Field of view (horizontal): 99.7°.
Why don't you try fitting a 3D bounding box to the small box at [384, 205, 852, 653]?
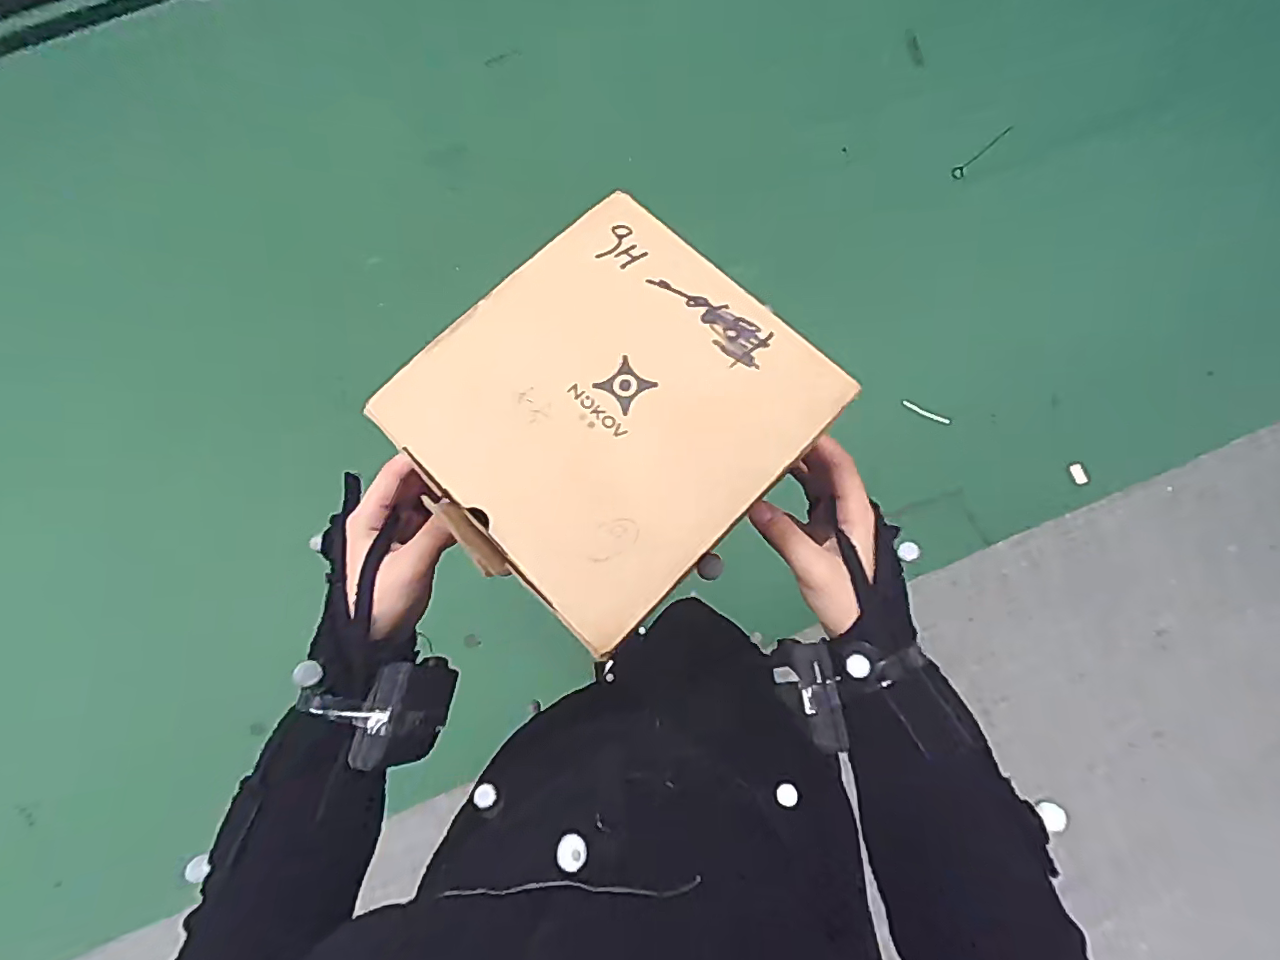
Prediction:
[{"bbox_3d":[-0.009,-0.016,0.341,0.168,0.176,0.179,44,81,11],"label":"small box"}]
